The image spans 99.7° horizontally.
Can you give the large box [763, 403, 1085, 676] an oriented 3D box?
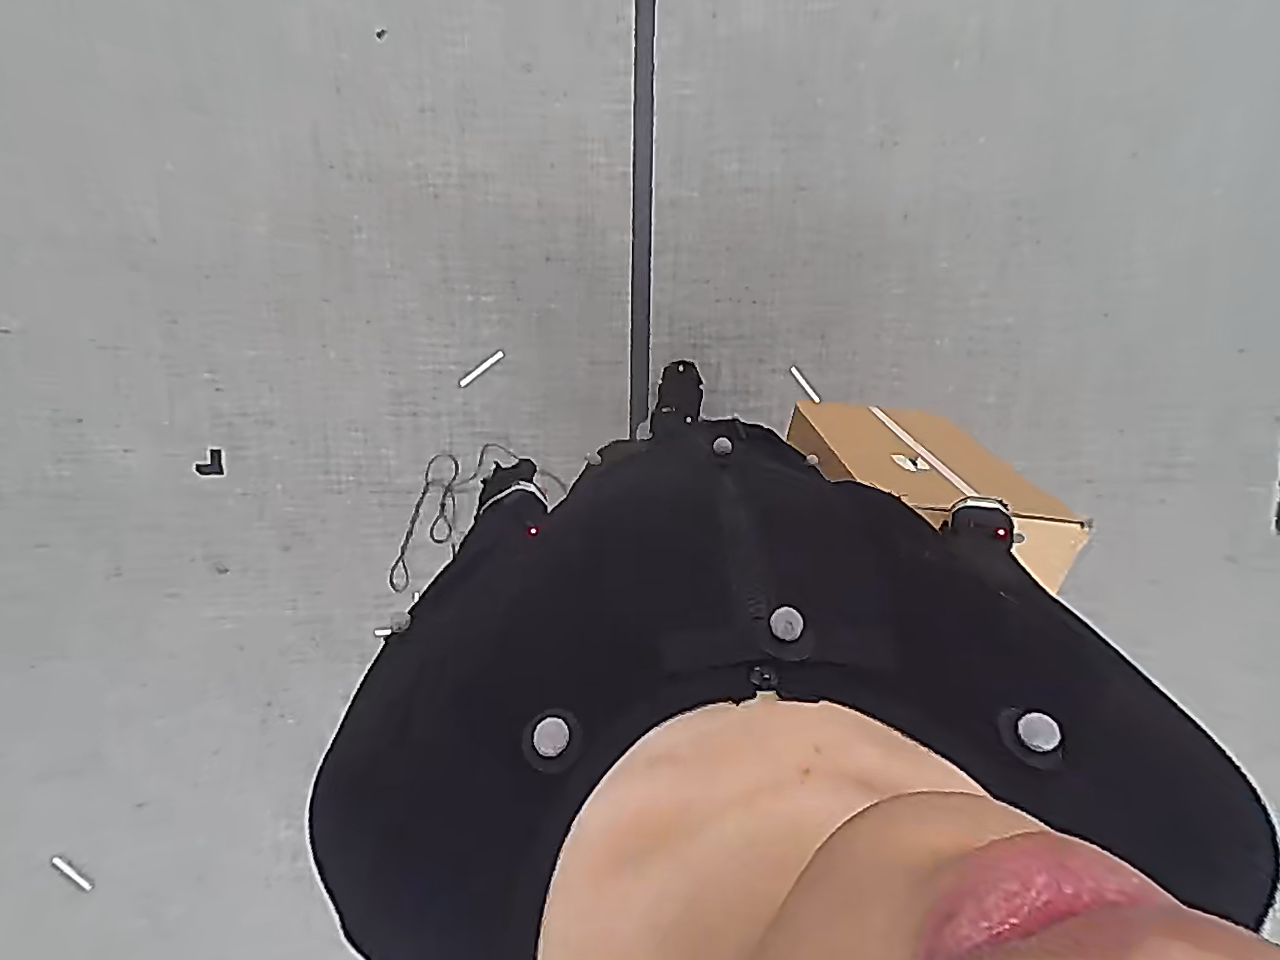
[{"bbox_3d":[0.447,0.087,0.984,0.320,0.408,0.320,5,118,-4],"label":"large box"}]
